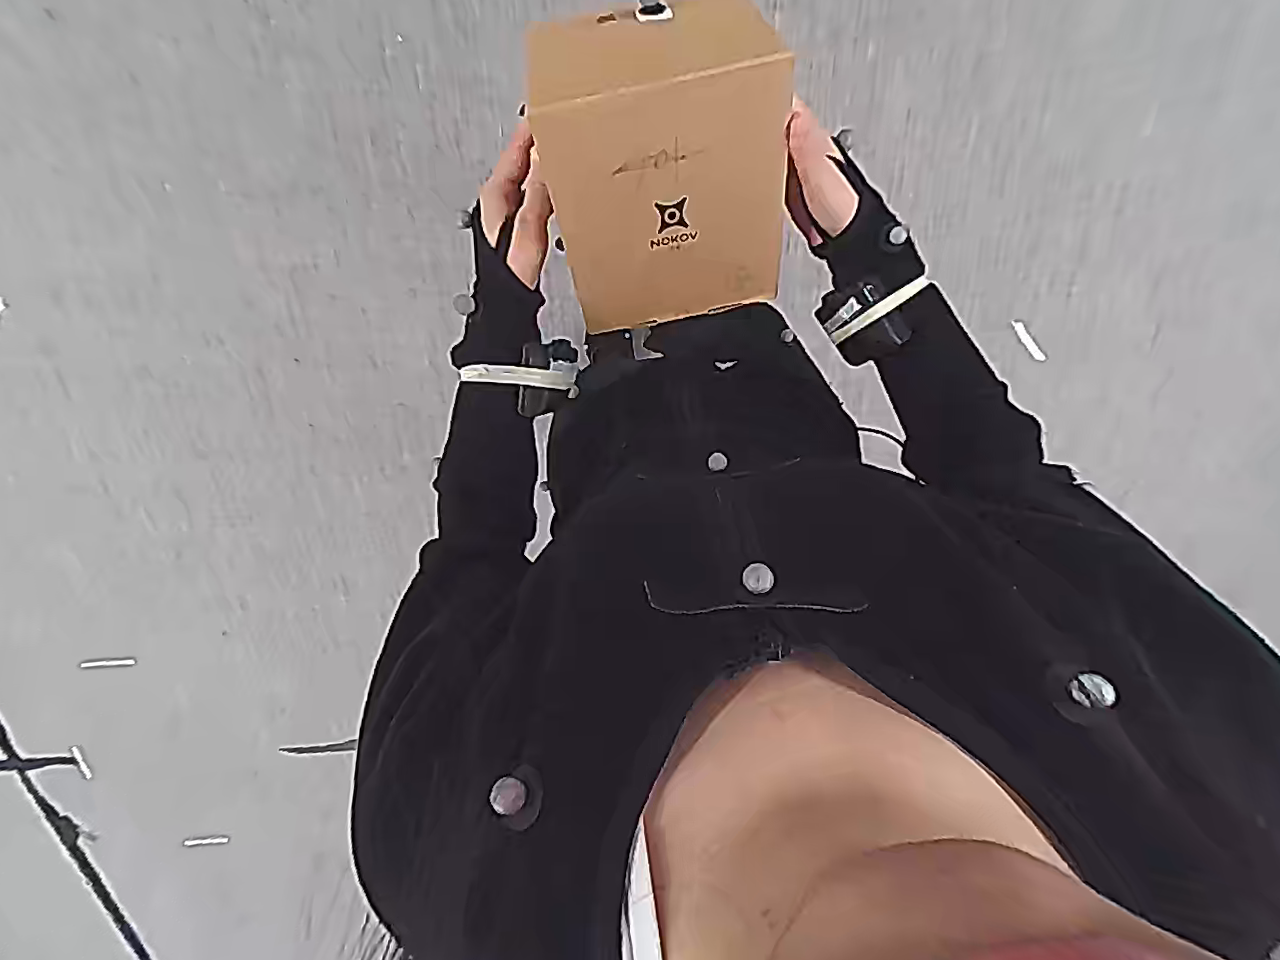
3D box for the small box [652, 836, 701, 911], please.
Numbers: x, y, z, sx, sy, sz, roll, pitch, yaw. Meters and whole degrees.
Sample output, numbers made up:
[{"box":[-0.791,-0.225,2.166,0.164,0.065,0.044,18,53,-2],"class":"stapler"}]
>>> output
[{"box":[0.137,1.498,2.062,0.168,0.176,0.179,-2,113,-4],"class":"small box"}]
